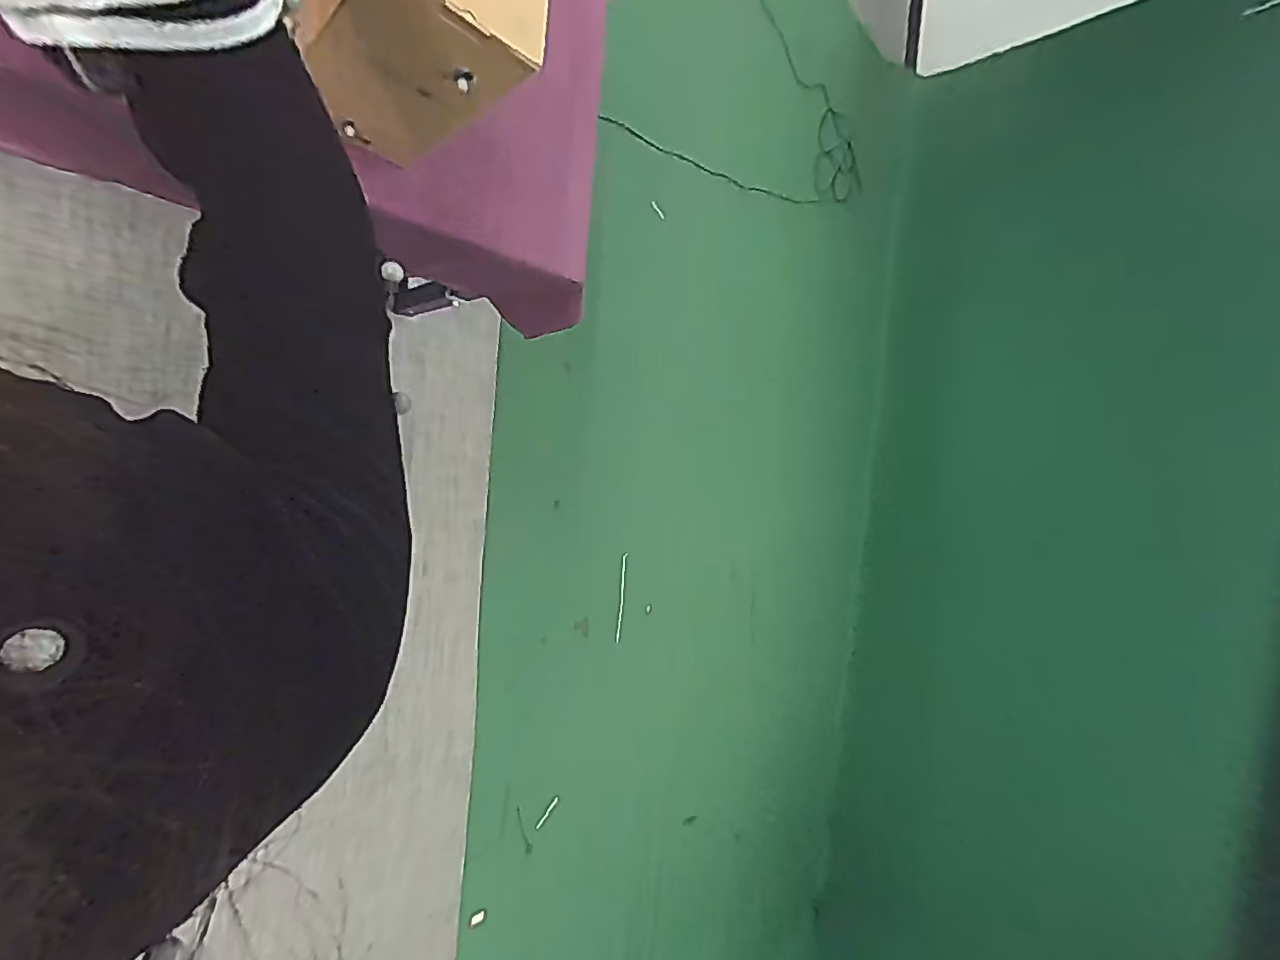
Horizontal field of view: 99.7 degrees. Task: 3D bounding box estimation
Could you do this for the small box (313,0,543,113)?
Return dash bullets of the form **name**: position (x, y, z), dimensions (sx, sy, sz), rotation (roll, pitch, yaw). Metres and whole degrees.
- **small box**: position (-0.211, -0.515, 0.542), dimensions (0.168, 0.176, 0.179), rotation (2, 95, -47)
